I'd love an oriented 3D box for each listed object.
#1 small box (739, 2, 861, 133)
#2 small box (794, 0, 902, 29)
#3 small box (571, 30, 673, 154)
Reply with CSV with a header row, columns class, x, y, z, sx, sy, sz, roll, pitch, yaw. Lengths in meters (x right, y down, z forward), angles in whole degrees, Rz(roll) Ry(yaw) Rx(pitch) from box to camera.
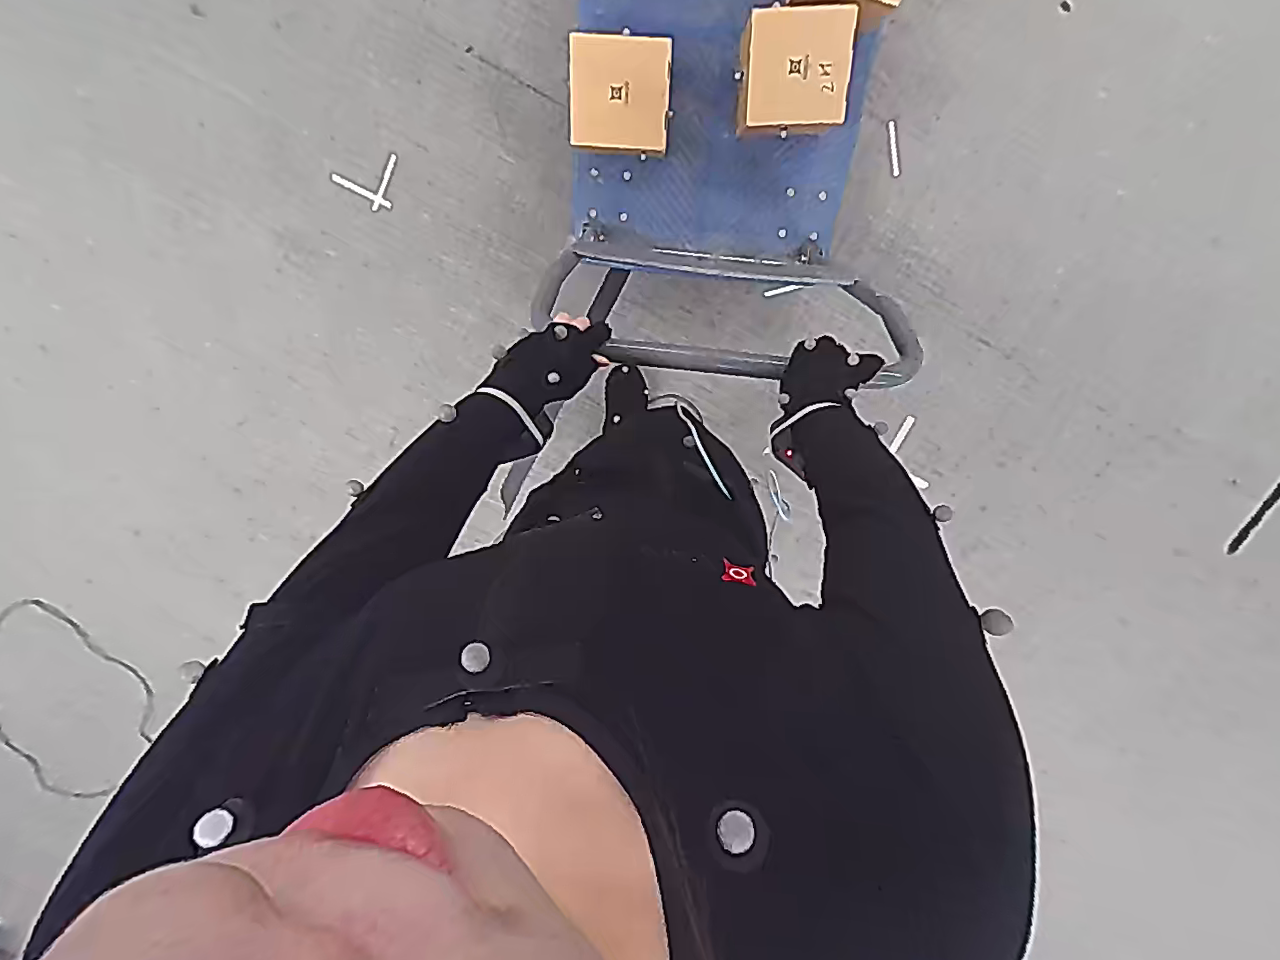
class,x,y,z,sx,sy,sz,roll,pitch,yaw
small box,0.279,-0.742,0.989,0.179,0.176,0.168,1,118,3
small box,0.370,-0.902,0.901,0.168,0.176,0.179,14,118,-4
small box,-0.031,-0.719,1.020,0.179,0.176,0.168,3,118,0
